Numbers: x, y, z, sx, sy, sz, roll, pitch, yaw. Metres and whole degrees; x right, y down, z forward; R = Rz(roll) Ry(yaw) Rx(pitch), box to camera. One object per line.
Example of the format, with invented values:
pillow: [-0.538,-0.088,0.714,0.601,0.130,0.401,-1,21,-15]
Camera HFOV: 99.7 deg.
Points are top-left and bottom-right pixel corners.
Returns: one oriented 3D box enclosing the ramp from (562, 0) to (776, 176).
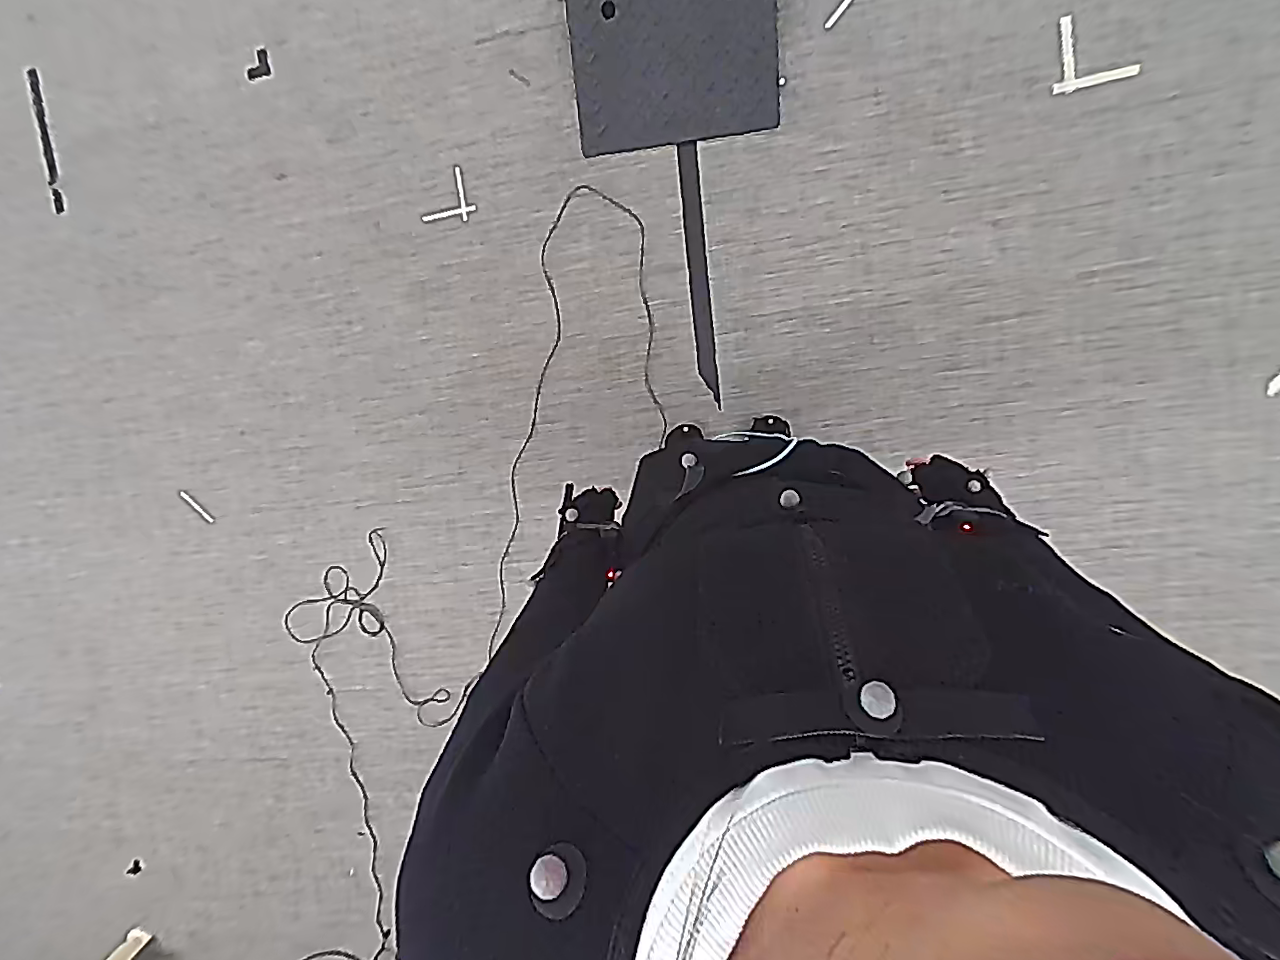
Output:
ramp: [0.039,-1.291,1.244,0.509,0.206,0.991,-7,96,8]
